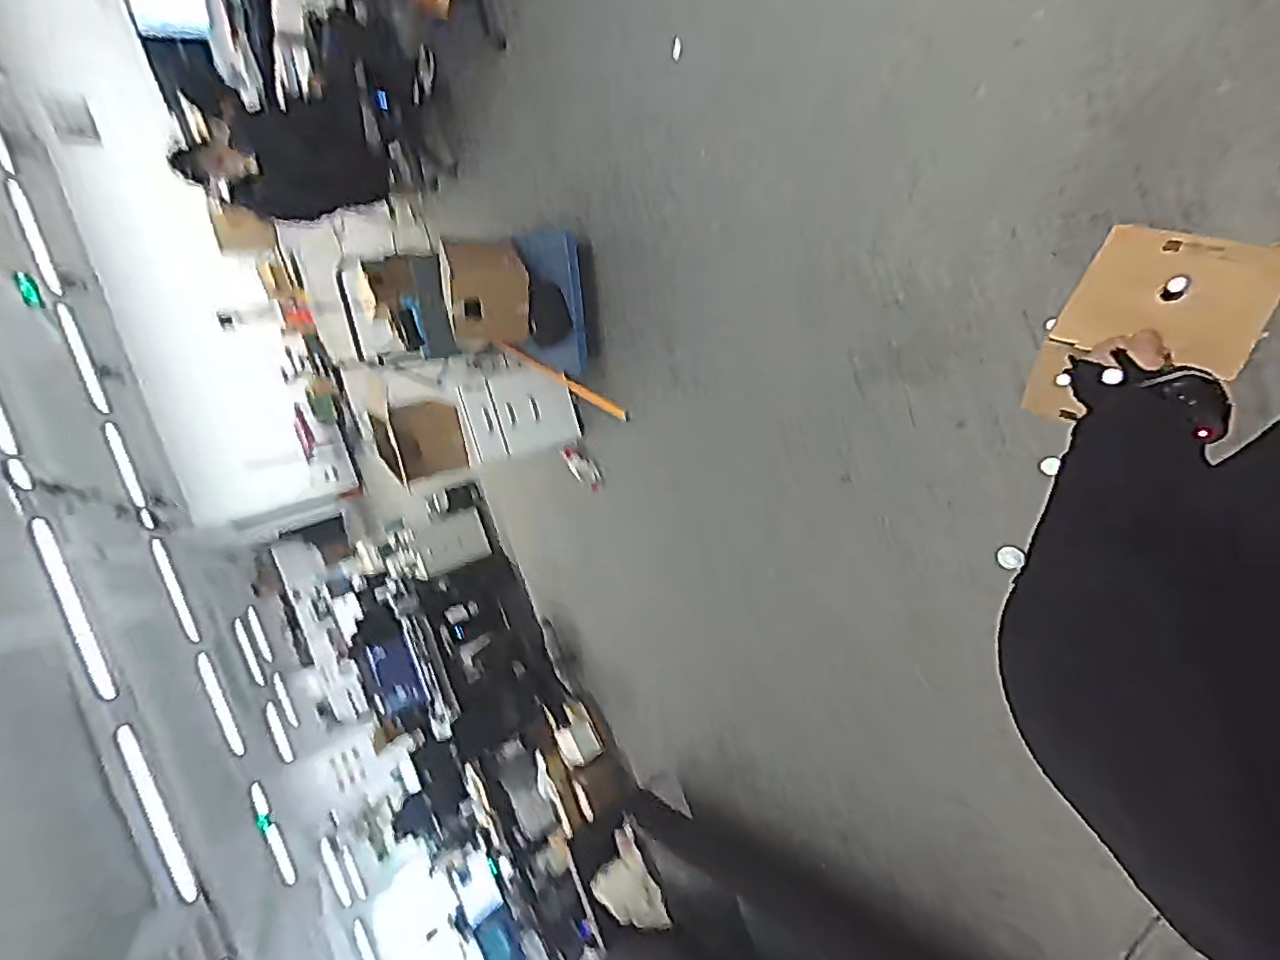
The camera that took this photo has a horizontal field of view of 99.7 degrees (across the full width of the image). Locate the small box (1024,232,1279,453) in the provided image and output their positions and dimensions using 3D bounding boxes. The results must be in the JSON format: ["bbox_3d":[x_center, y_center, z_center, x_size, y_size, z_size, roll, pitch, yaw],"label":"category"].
[{"bbox_3d":[0.611,-0.166,0.655,0.168,0.176,0.179,30,172,33],"label":"small box"}]
